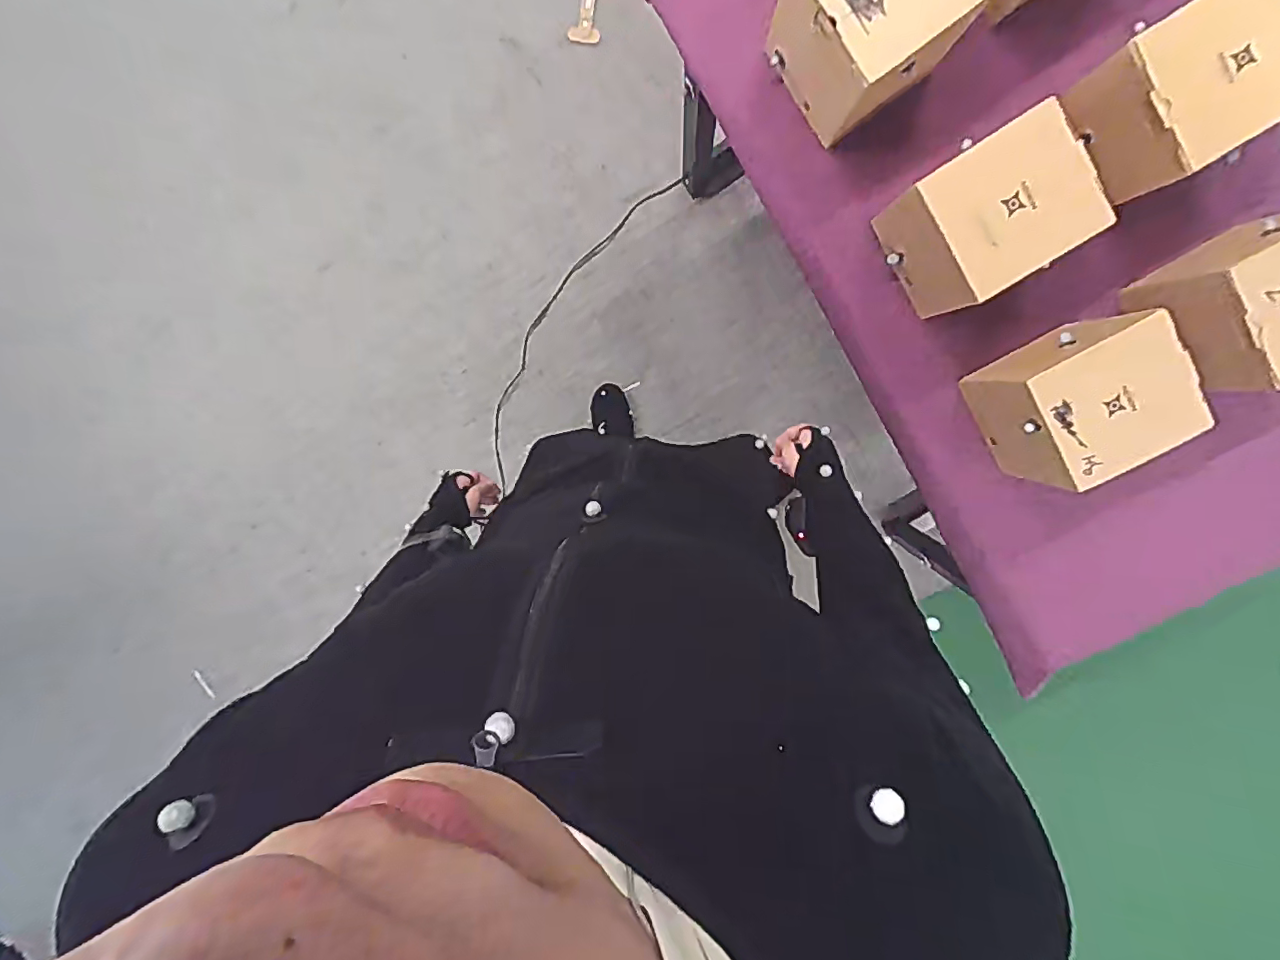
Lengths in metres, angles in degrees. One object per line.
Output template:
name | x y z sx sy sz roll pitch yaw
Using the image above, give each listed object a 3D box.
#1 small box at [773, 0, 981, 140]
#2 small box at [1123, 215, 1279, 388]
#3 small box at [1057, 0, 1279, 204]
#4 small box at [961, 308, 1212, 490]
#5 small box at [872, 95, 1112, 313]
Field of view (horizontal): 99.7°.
small box | 0.284 -0.578 0.679 0.179 0.176 0.168 -34 96 8
small box | 0.801 -0.235 0.700 0.179 0.176 0.168 -30 96 10
small box | 0.661 -0.478 0.670 0.179 0.176 0.168 -31 96 11
small box | 0.591 -0.110 0.740 0.179 0.176 0.168 -29 96 8
small box | 0.443 -0.342 0.712 0.179 0.176 0.168 -31 96 10
